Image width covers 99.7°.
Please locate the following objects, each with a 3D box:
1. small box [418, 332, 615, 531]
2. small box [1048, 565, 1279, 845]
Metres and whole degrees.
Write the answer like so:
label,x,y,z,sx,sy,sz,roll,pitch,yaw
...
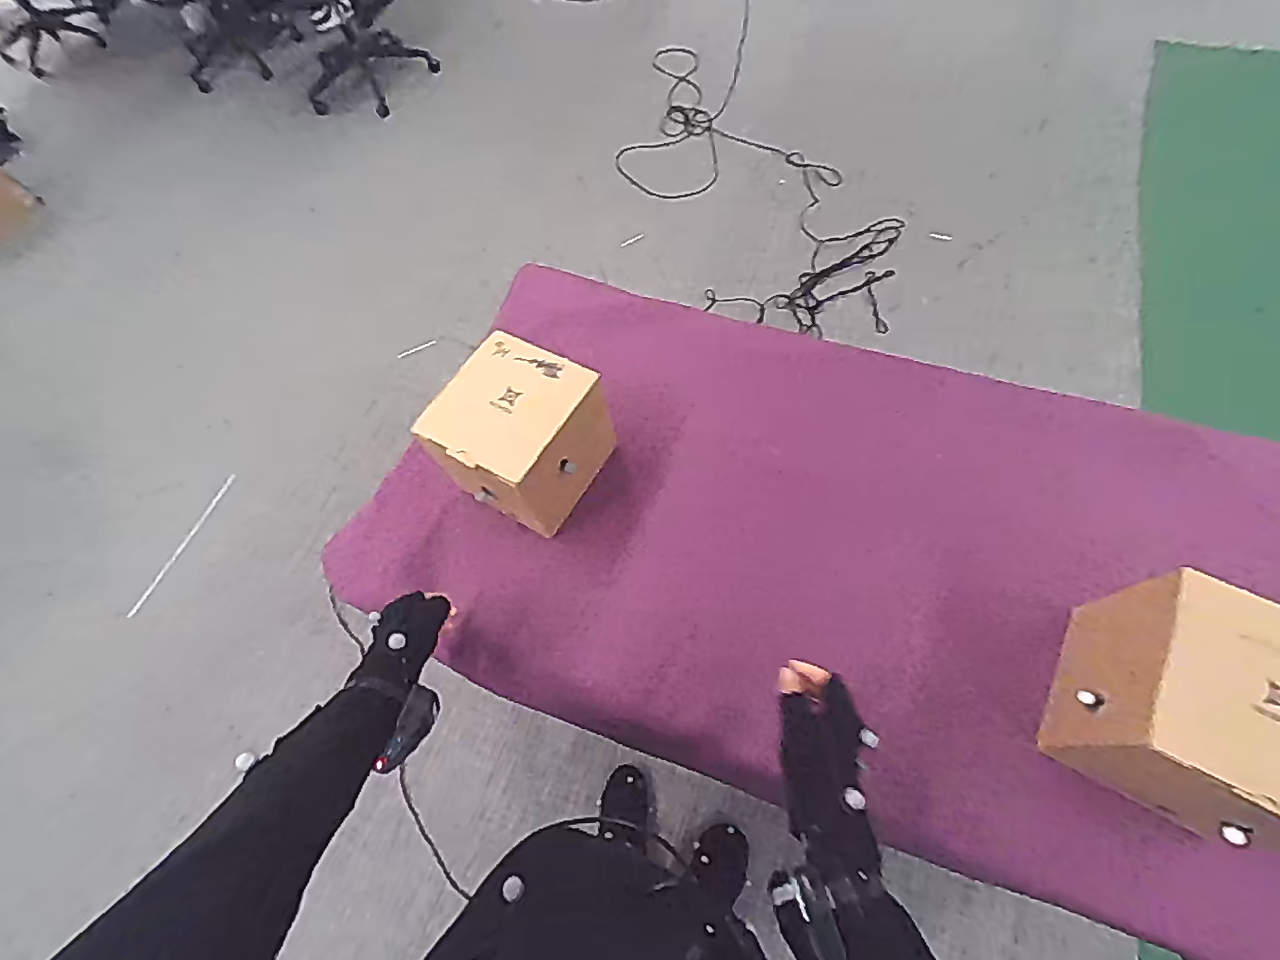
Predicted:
label,x,y,z,sx,sy,sz,roll,pitch,yaw
small box,-0.148,-0.057,0.722,0.168,0.176,0.179,26,70,18
small box,0.531,0.214,0.508,0.168,0.176,0.179,27,69,18
